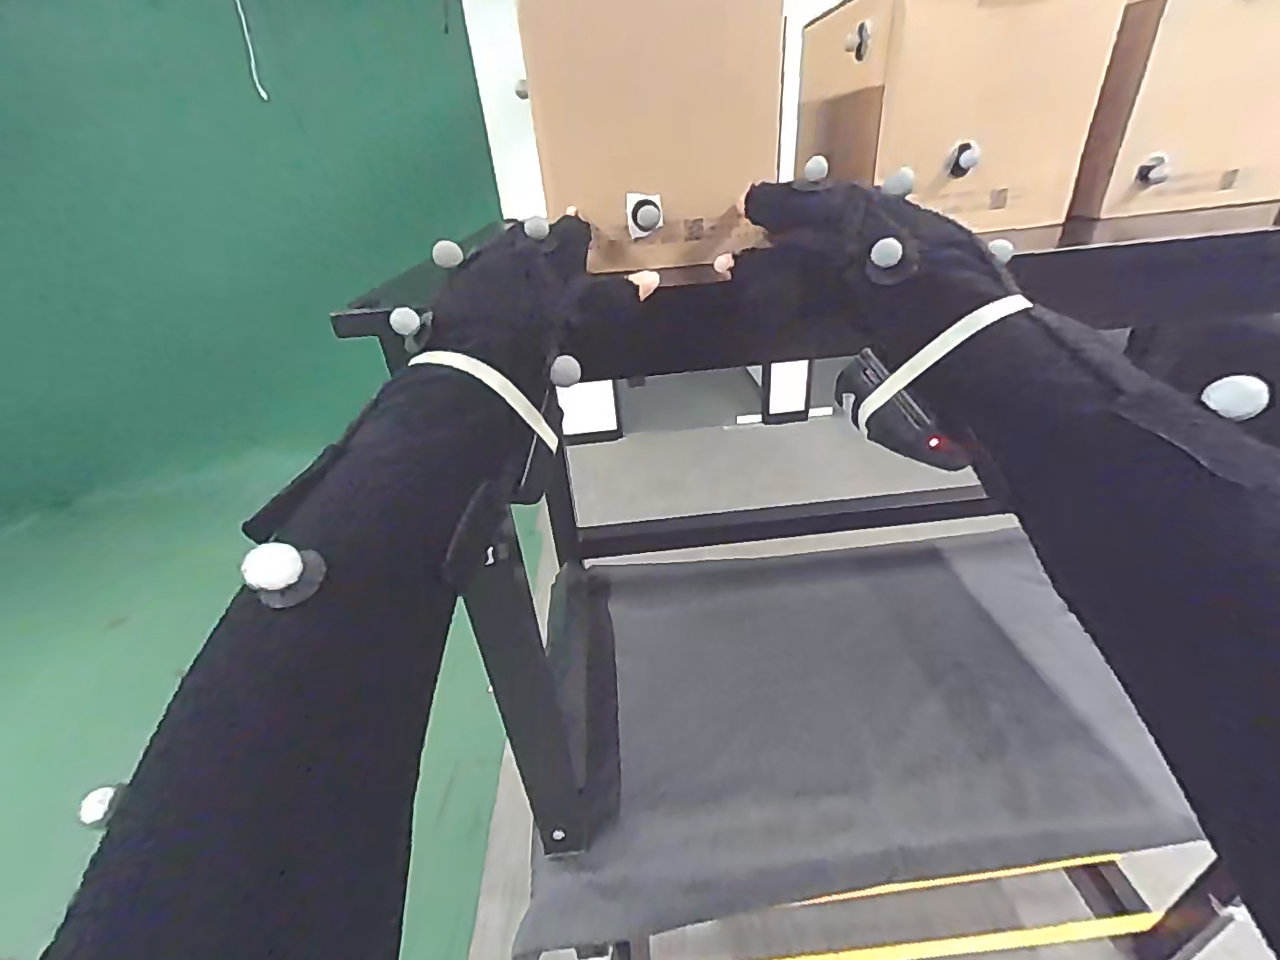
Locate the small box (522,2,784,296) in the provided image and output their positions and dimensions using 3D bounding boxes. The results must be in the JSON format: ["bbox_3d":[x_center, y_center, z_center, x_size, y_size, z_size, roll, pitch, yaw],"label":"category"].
[{"bbox_3d":[0.007,-0.256,0.442,0.168,0.176,0.179,-8,31,-3],"label":"small box"}]
